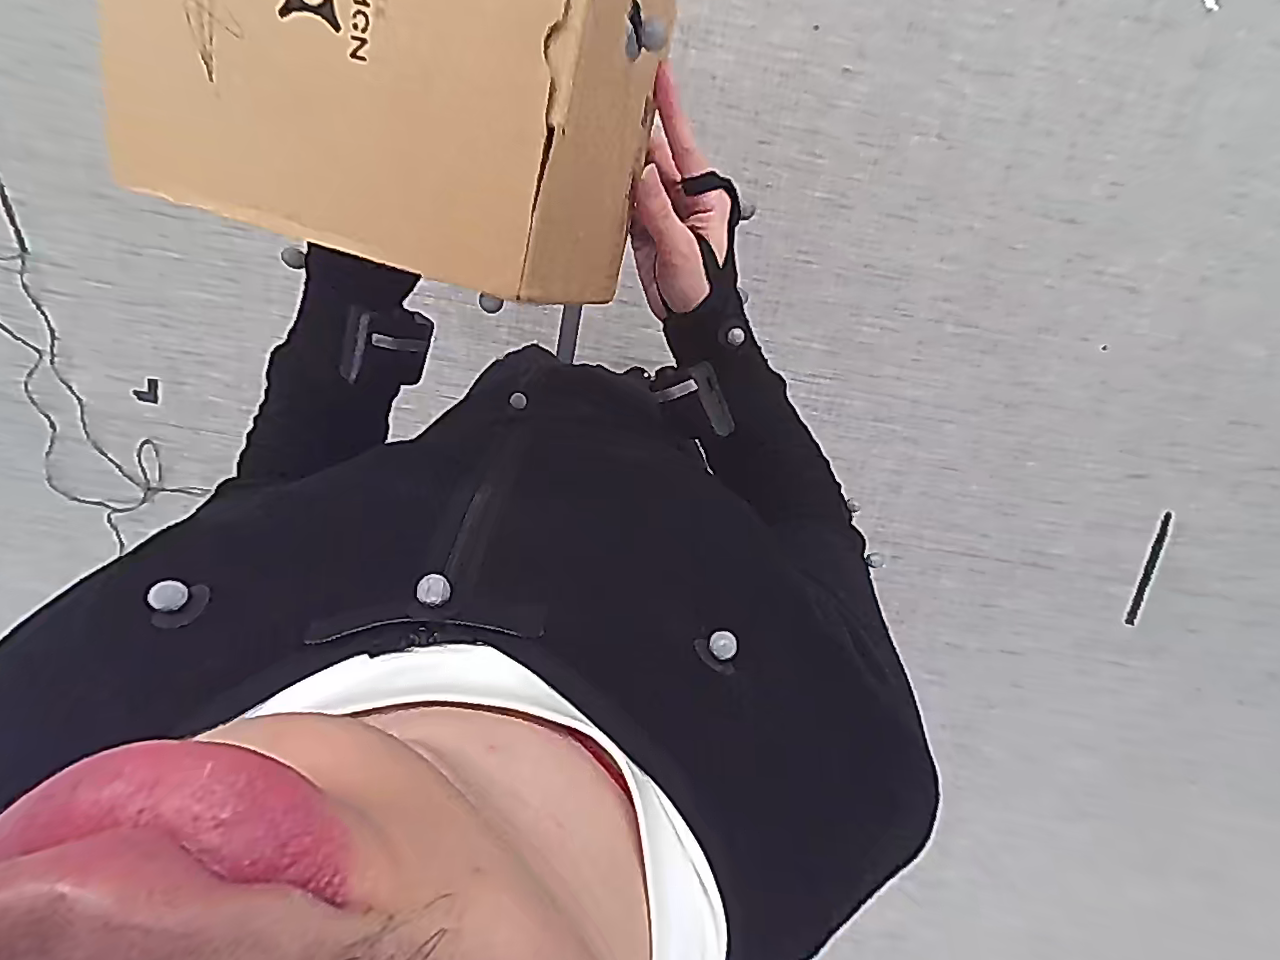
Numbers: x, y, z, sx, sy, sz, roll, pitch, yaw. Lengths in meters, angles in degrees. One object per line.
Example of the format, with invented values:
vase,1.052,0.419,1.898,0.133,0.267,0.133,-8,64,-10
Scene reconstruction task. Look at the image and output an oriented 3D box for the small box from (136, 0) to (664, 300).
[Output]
small box,-0.094,-0.194,0.271,0.179,0.176,0.168,16,108,5
